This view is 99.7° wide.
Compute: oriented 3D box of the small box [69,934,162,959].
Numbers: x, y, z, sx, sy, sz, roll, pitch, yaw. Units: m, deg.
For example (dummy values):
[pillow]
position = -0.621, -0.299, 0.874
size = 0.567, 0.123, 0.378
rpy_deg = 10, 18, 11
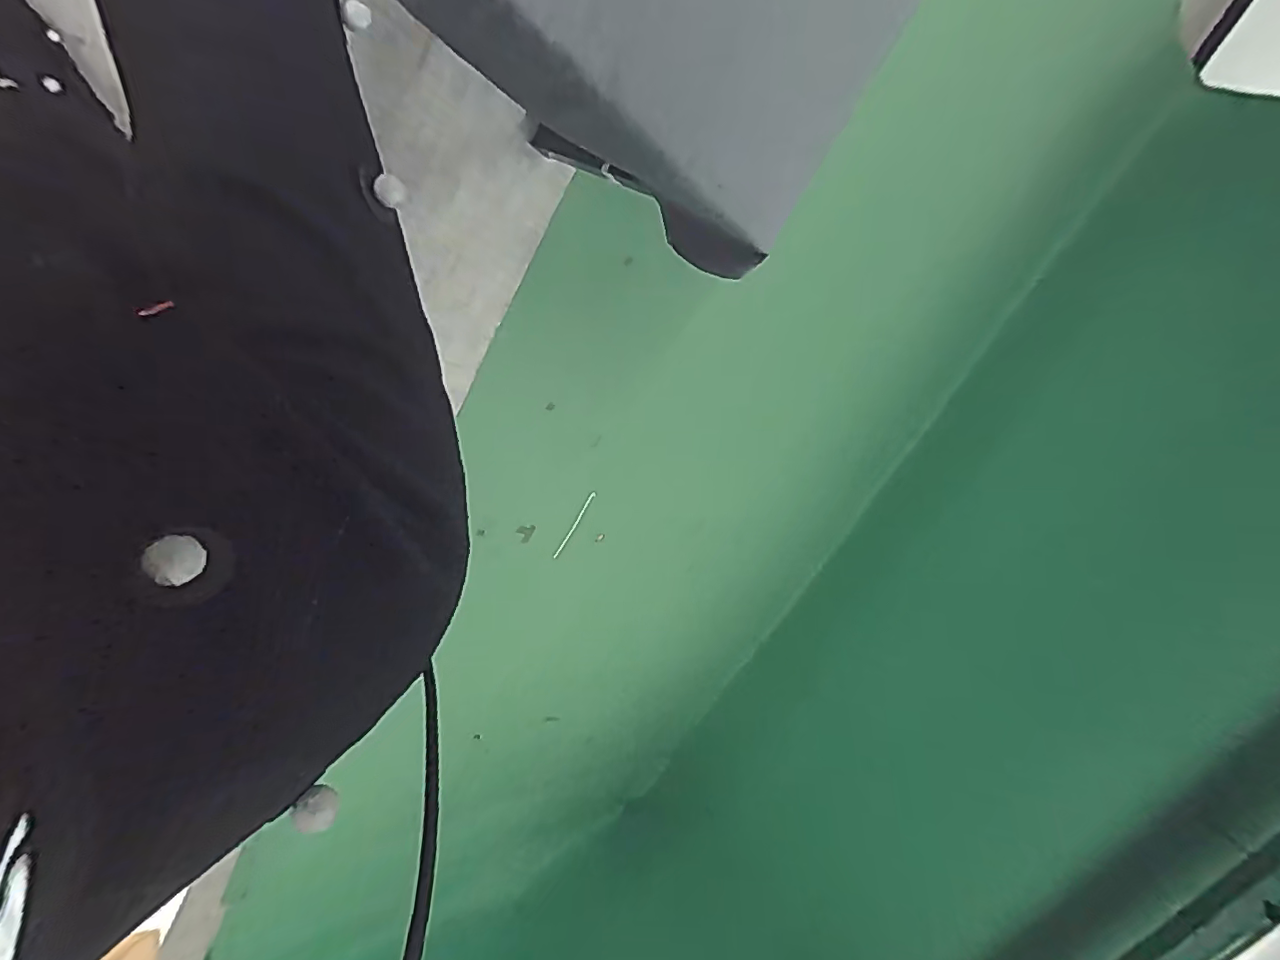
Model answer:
[small box]
position = -0.999, 0.994, 0.986
size = 0.168, 0.176, 0.179
rpy_deg = 16, 111, -49
